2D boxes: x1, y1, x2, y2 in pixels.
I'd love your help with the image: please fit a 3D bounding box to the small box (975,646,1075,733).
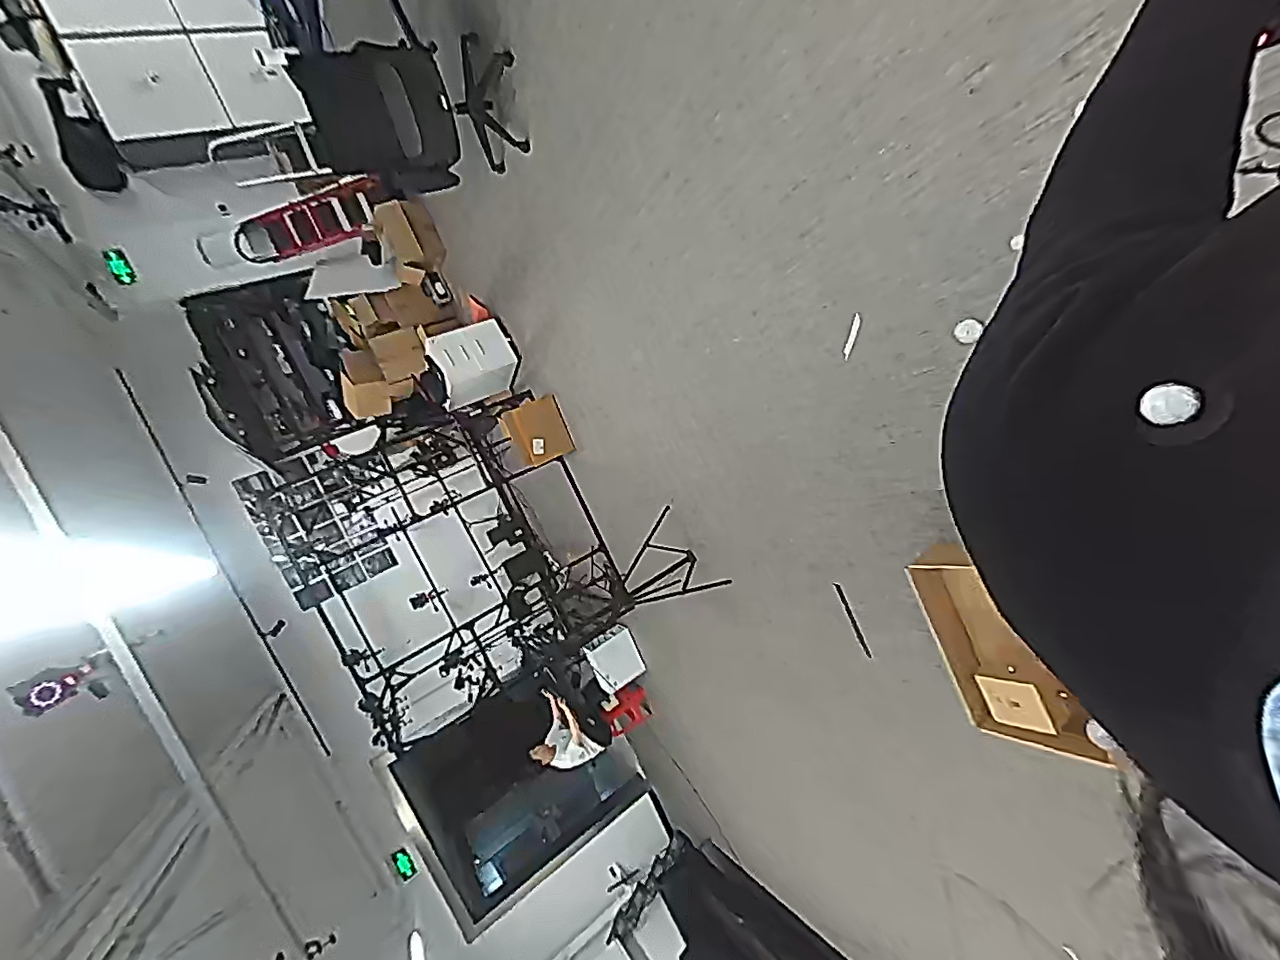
[{"bbox_3d":[1.164,0.620,1.625,0.168,0.176,0.179,65,154,-3],"label":"small box"}]
